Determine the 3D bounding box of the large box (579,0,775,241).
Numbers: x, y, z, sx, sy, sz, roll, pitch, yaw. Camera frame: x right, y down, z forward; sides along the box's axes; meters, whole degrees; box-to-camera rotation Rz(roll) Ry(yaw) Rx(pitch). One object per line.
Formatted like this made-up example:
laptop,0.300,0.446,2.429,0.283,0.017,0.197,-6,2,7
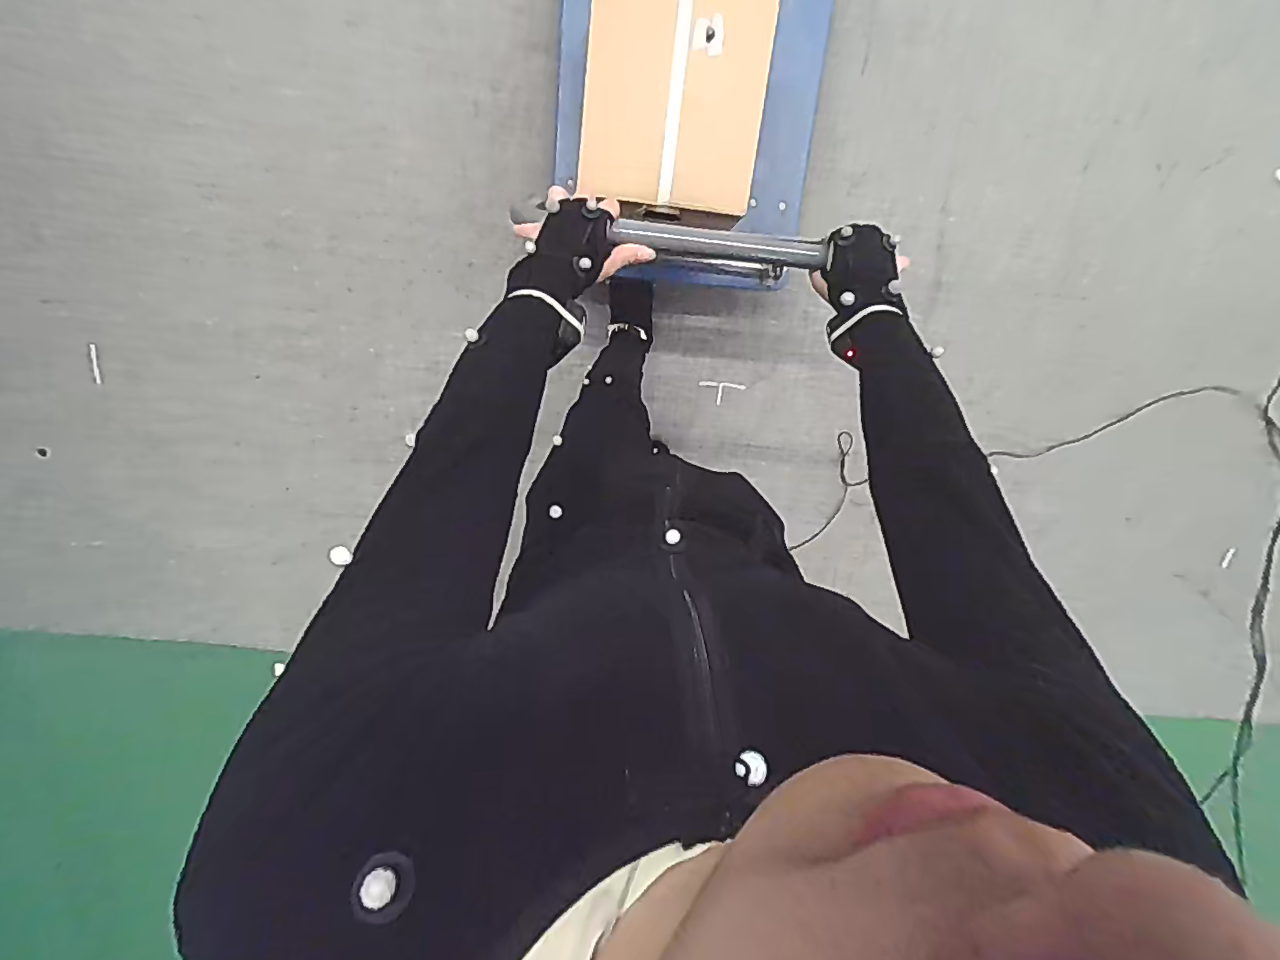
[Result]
large box,0.060,-0.727,1.076,0.320,0.320,0.408,6,104,-3
